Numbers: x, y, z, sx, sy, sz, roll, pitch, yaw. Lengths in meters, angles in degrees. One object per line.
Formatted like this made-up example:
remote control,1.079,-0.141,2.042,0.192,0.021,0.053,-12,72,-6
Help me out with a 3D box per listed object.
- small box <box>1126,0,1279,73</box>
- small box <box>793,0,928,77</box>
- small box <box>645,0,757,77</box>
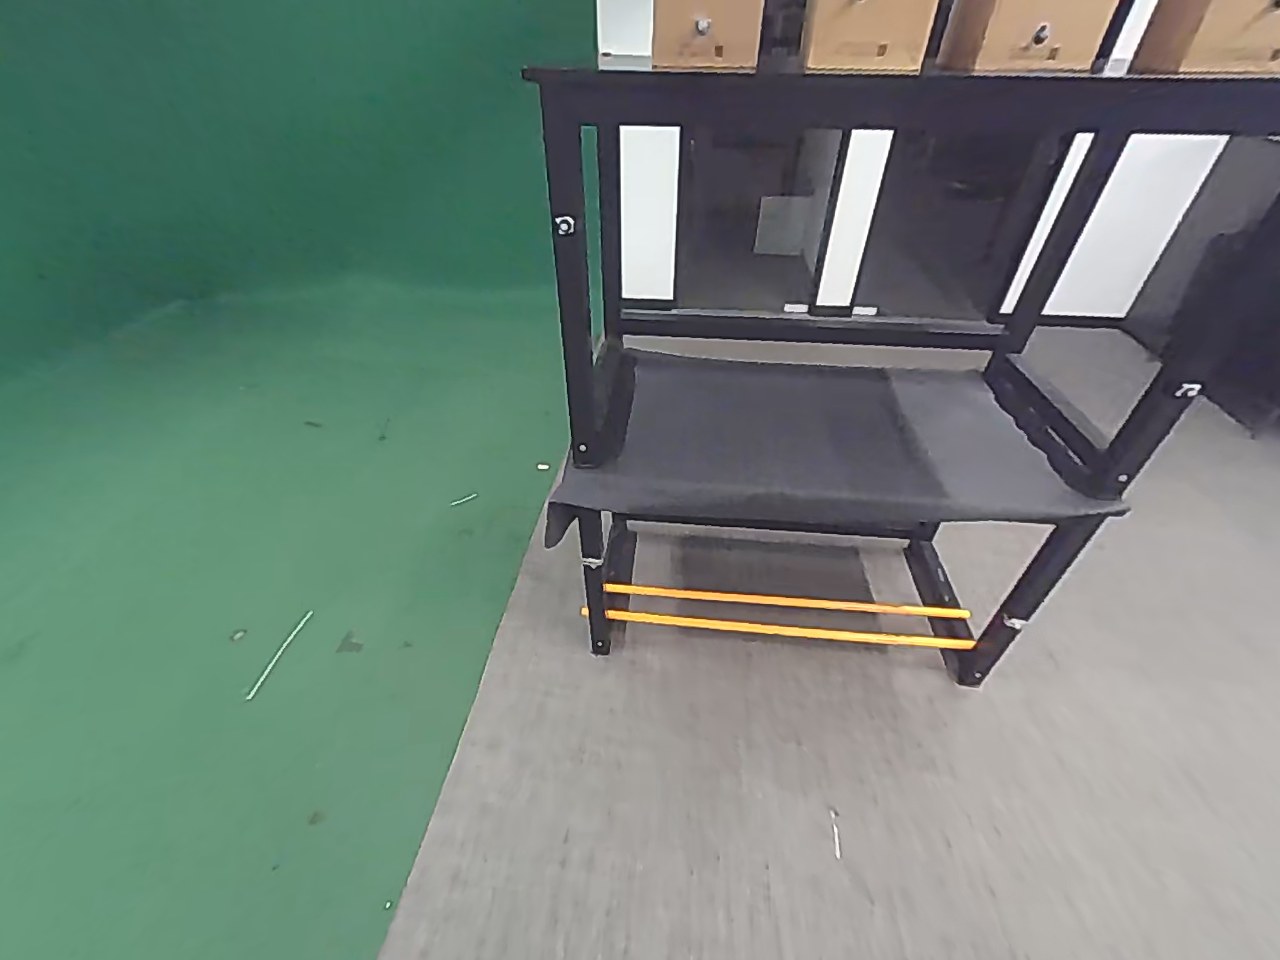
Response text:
small box,0.845,-0.678,0.756,0.168,0.176,0.179,10,40,12
small box,0.336,-0.725,0.827,0.168,0.176,0.179,5,39,6
small box,0.094,-0.755,0.862,0.168,0.176,0.179,1,40,2
